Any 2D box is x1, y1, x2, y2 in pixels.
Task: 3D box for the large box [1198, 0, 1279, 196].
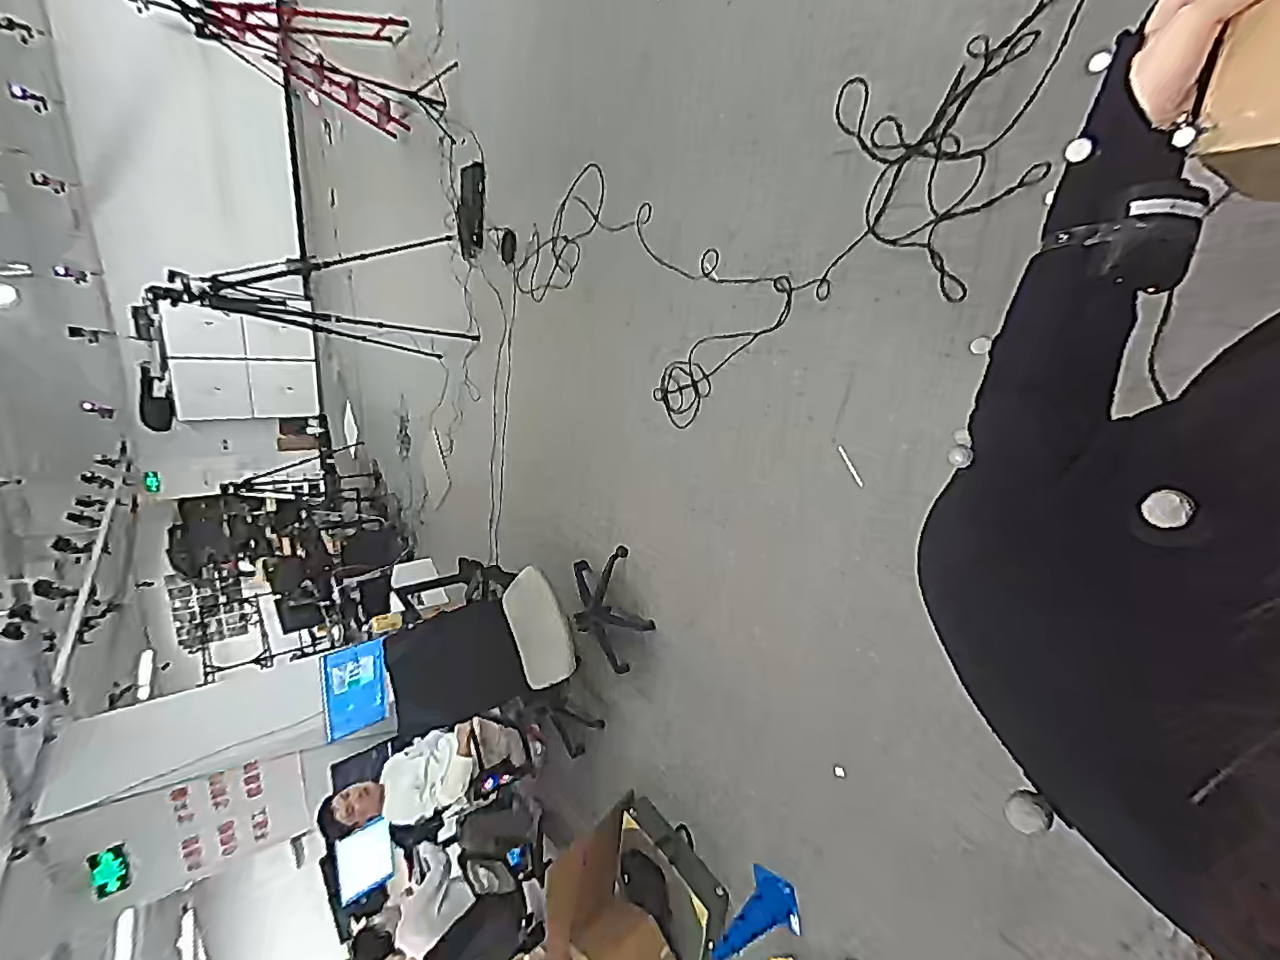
[{"bbox_3d":[0.638,-0.356,0.273,0.408,0.320,0.320,23,118,50],"label":"large box"}]
